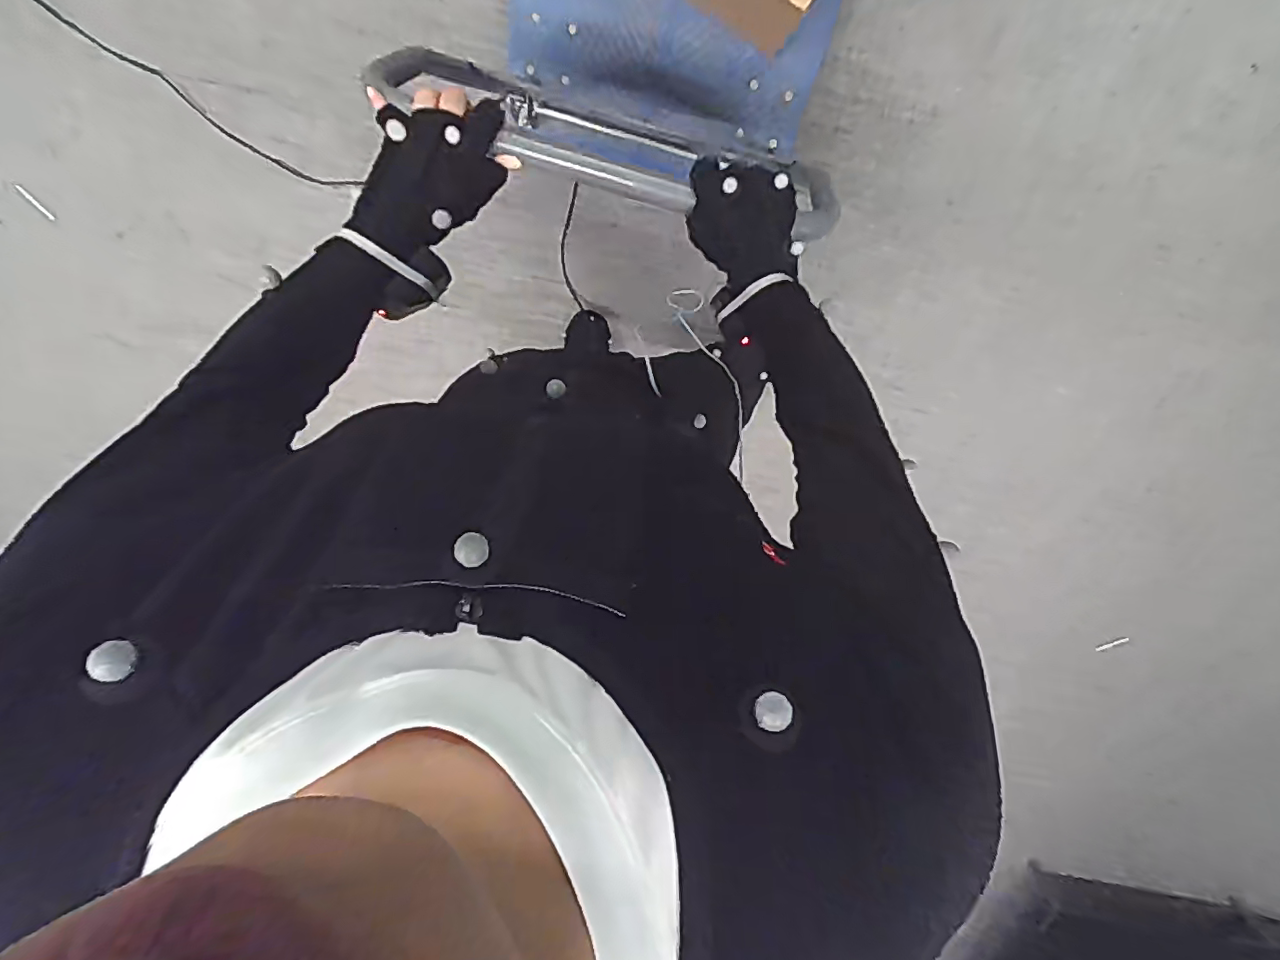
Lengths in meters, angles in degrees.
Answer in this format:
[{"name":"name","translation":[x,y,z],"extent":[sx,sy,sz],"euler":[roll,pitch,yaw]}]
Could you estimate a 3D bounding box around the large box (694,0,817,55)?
[{"name":"large box","translation":[0.141,-0.911,0.773],"extent":[0.408,0.320,0.320],"euler":[28,117,-10]}]
